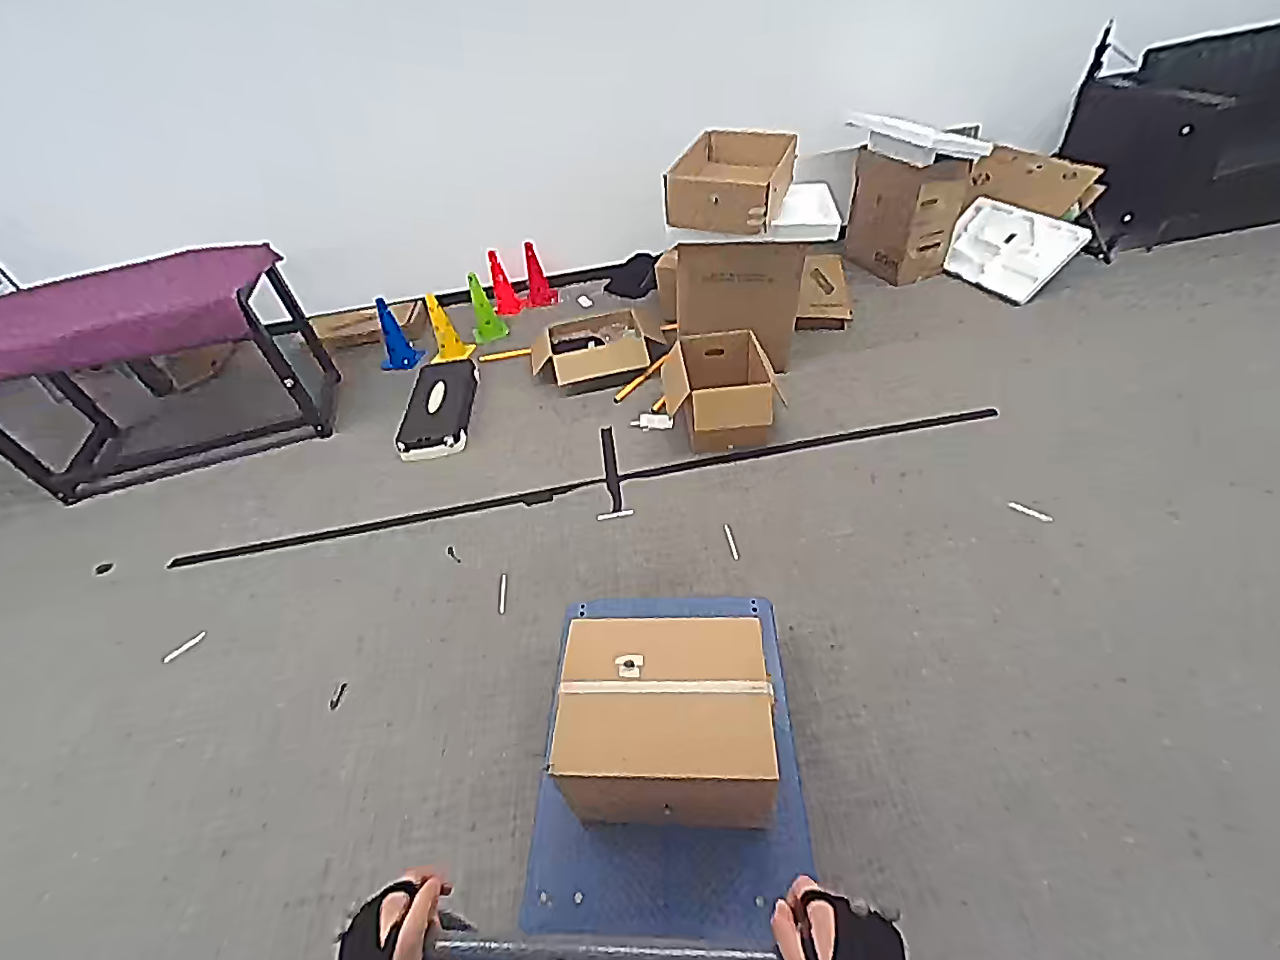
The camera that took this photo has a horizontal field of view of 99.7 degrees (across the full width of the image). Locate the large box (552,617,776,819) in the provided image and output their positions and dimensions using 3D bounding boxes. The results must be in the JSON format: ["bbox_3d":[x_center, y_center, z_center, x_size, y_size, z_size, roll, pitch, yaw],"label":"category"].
[{"bbox_3d":[0.062,0.515,1.161,0.408,0.320,0.320,-3,43,7],"label":"large box"}]
